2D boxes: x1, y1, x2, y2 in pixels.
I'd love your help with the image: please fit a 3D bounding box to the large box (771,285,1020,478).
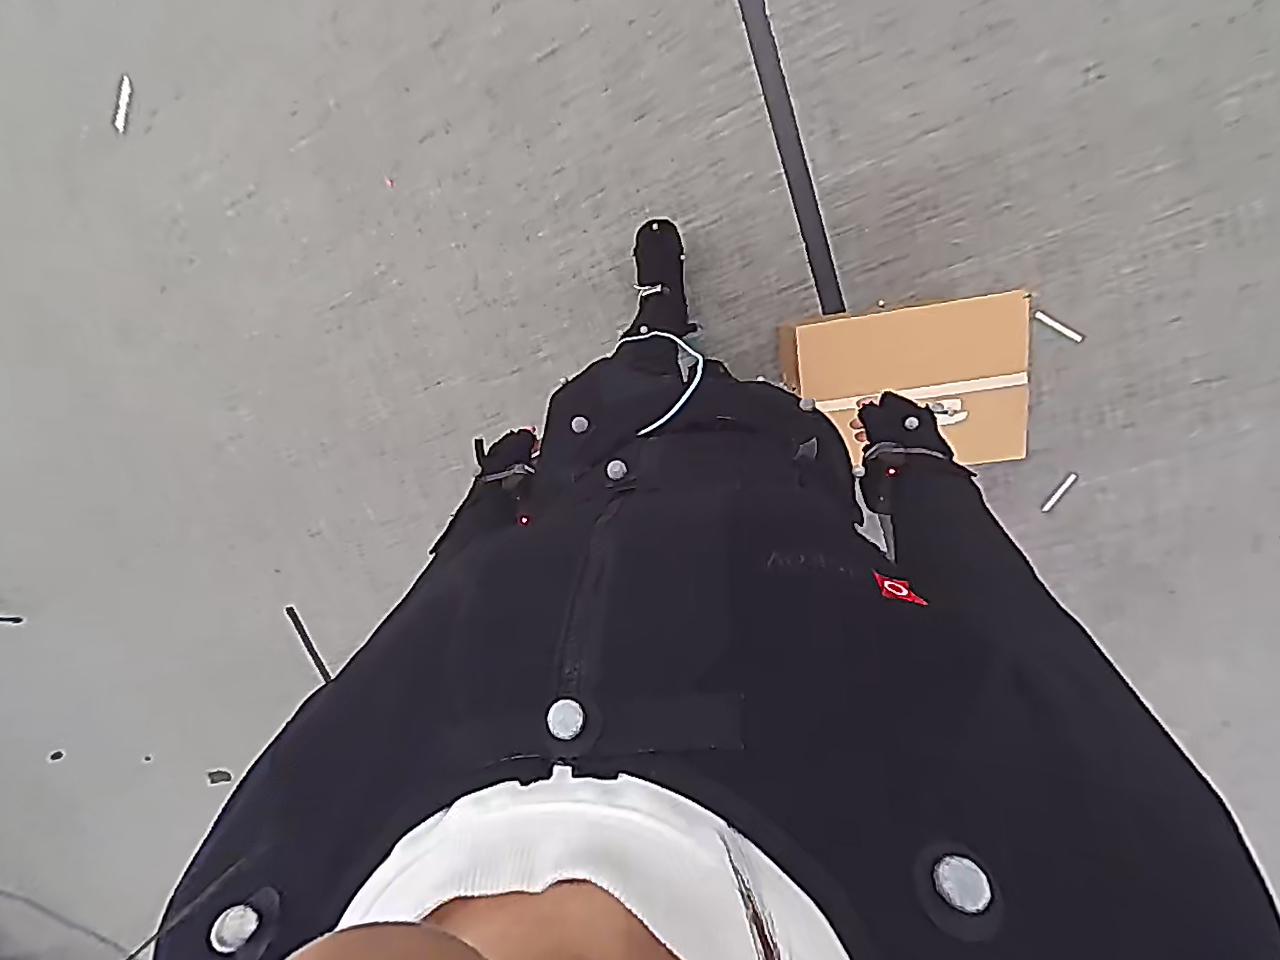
[{"bbox_3d":[0.517,-0.215,1.164,0.408,0.320,0.320,-7,107,9],"label":"large box"}]
